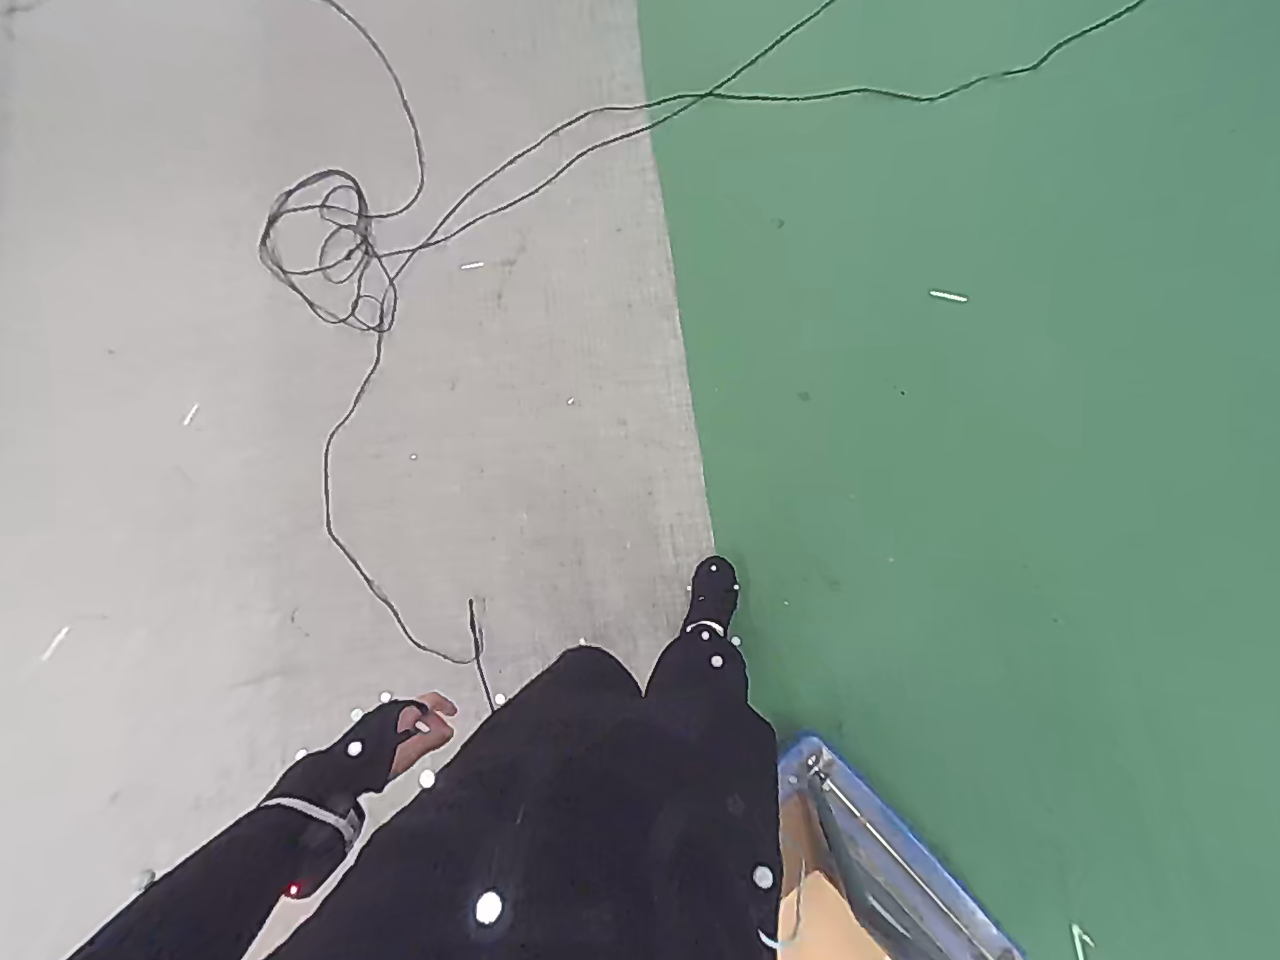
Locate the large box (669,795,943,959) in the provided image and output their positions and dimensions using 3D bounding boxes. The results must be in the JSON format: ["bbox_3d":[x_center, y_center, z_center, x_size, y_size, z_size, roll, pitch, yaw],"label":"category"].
[{"bbox_3d":[0.285,0.879,0.964,0.320,0.320,0.408,44,93,15],"label":"large box"}]
